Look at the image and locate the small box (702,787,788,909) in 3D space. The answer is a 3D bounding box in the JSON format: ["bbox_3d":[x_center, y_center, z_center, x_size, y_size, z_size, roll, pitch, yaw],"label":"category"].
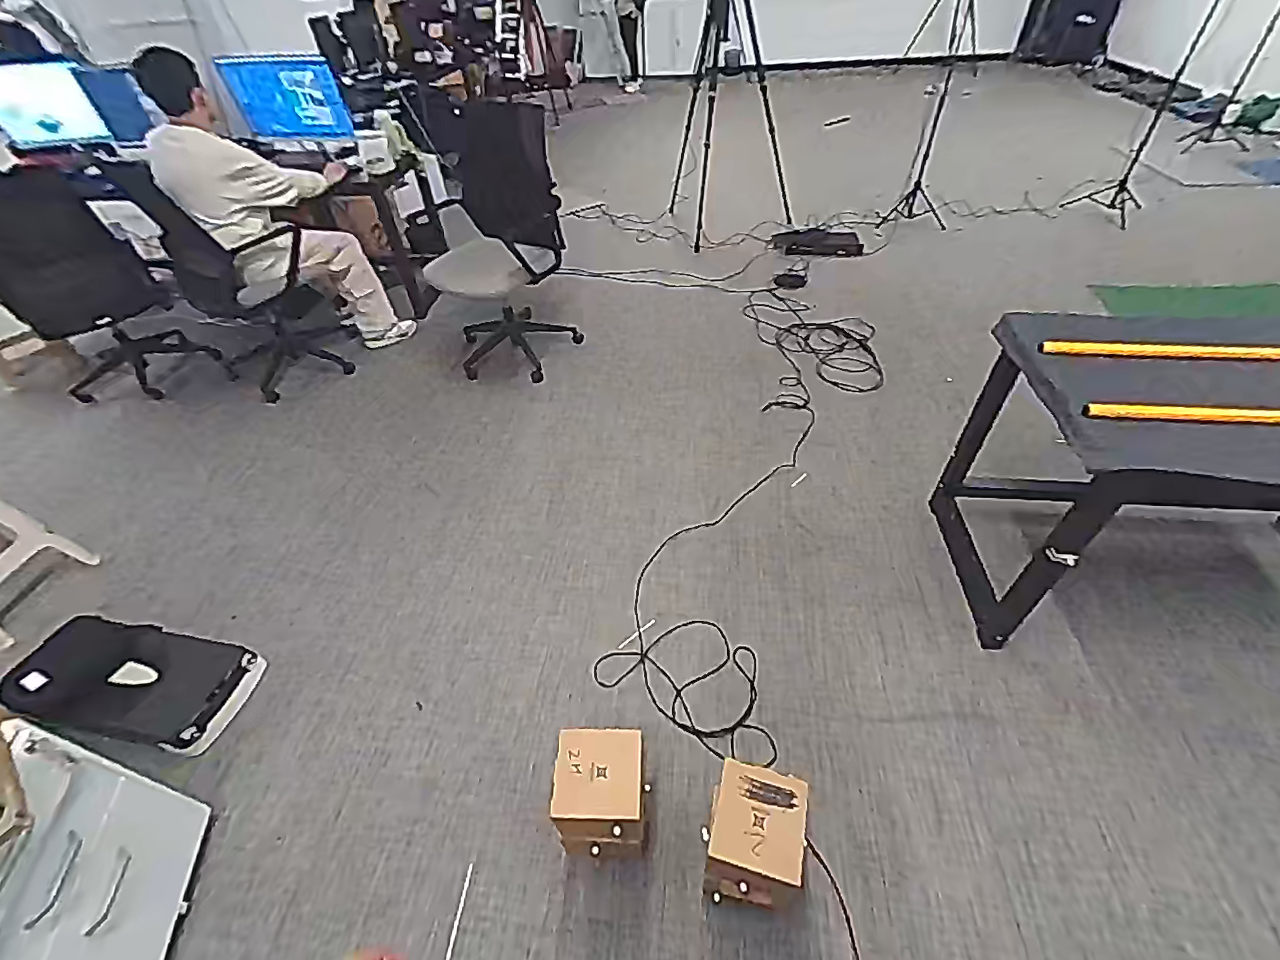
[{"bbox_3d":[0.228,0.808,1.184,0.168,0.176,0.179,6,45,10],"label":"small box"}]

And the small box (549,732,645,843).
[{"bbox_3d":[-0.081,0.646,1.135,0.179,0.176,0.168,-1,45,4],"label":"small box"}]

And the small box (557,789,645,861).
[{"bbox_3d":[-0.081,0.766,1.249,0.179,0.176,0.168,0,45,4],"label":"small box"}]
